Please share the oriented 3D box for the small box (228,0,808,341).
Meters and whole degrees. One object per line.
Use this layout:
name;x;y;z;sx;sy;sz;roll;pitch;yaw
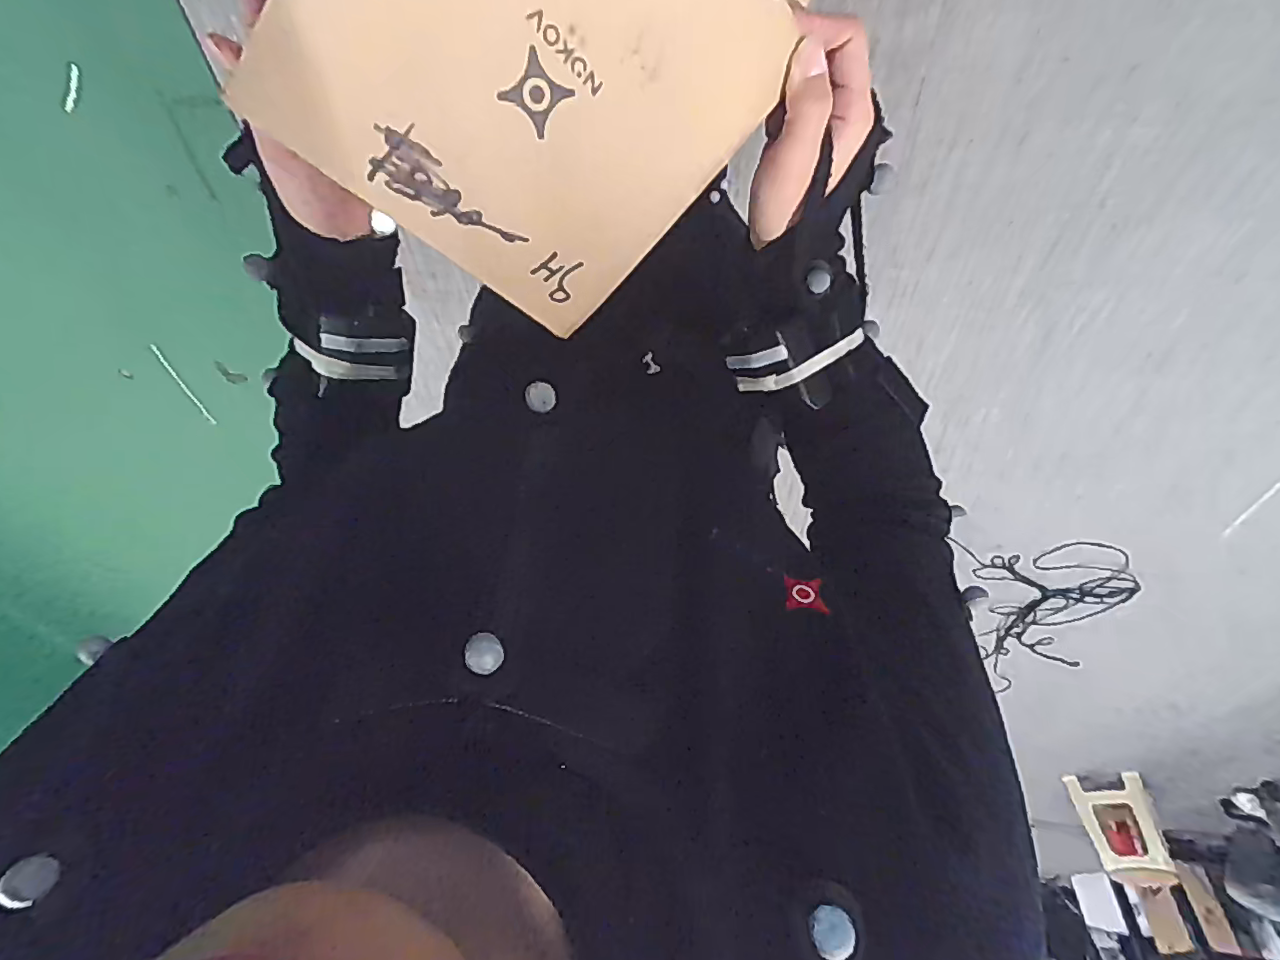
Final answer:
small box;-0.060;-0.213;0.268;0.179;0.176;0.168;-43;134;19
